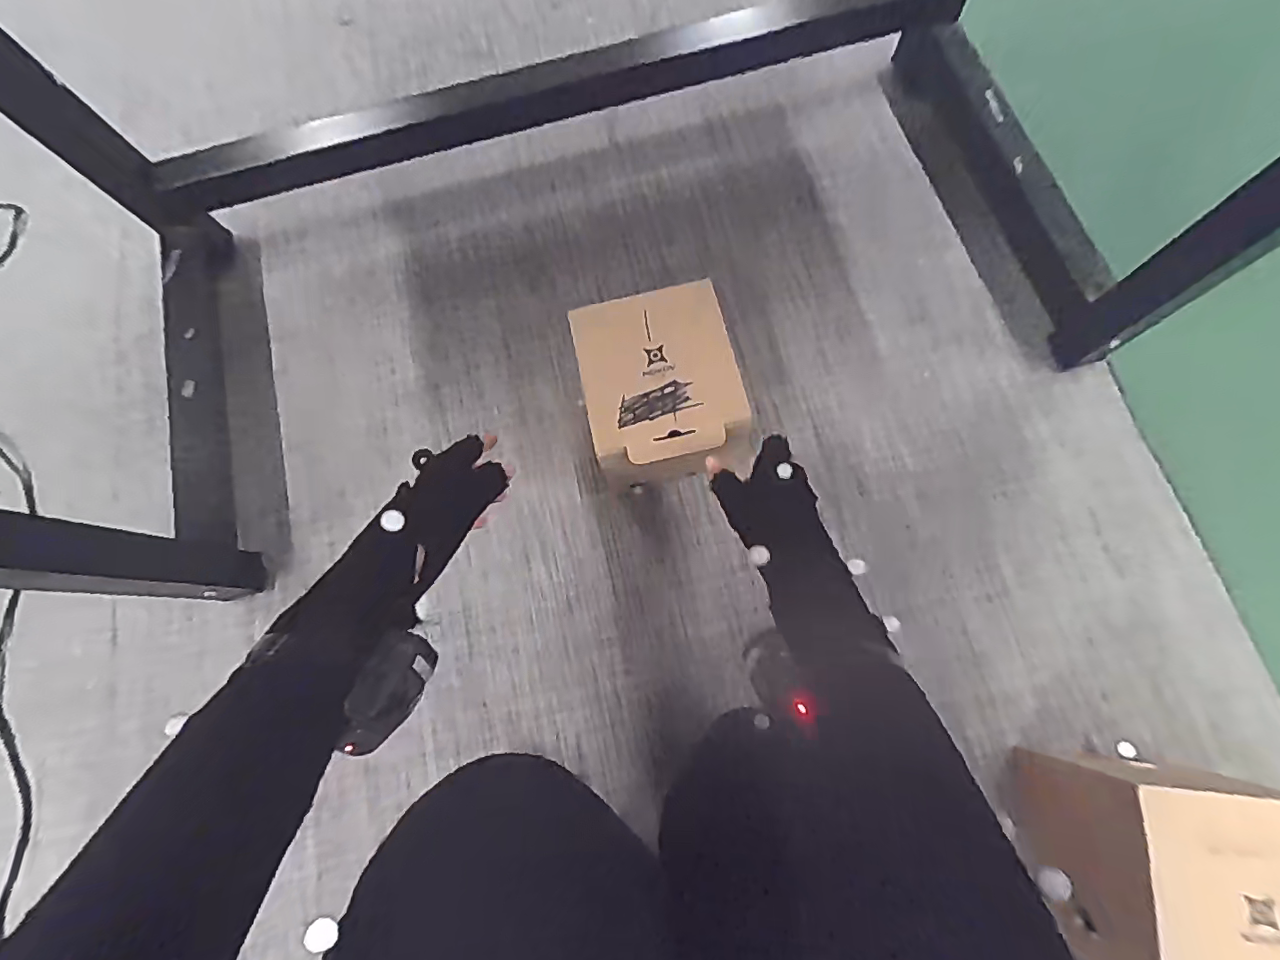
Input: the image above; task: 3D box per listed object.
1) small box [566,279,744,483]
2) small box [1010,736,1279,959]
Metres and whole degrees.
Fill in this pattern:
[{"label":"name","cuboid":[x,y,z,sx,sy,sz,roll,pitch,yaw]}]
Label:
[{"label":"small box","cuboid":[0.020,-0.105,0.654,0.168,0.176,0.179,-13,74,1]},{"label":"small box","cuboid":[0.483,0.357,0.504,0.168,0.176,0.179,4,75,3]}]
